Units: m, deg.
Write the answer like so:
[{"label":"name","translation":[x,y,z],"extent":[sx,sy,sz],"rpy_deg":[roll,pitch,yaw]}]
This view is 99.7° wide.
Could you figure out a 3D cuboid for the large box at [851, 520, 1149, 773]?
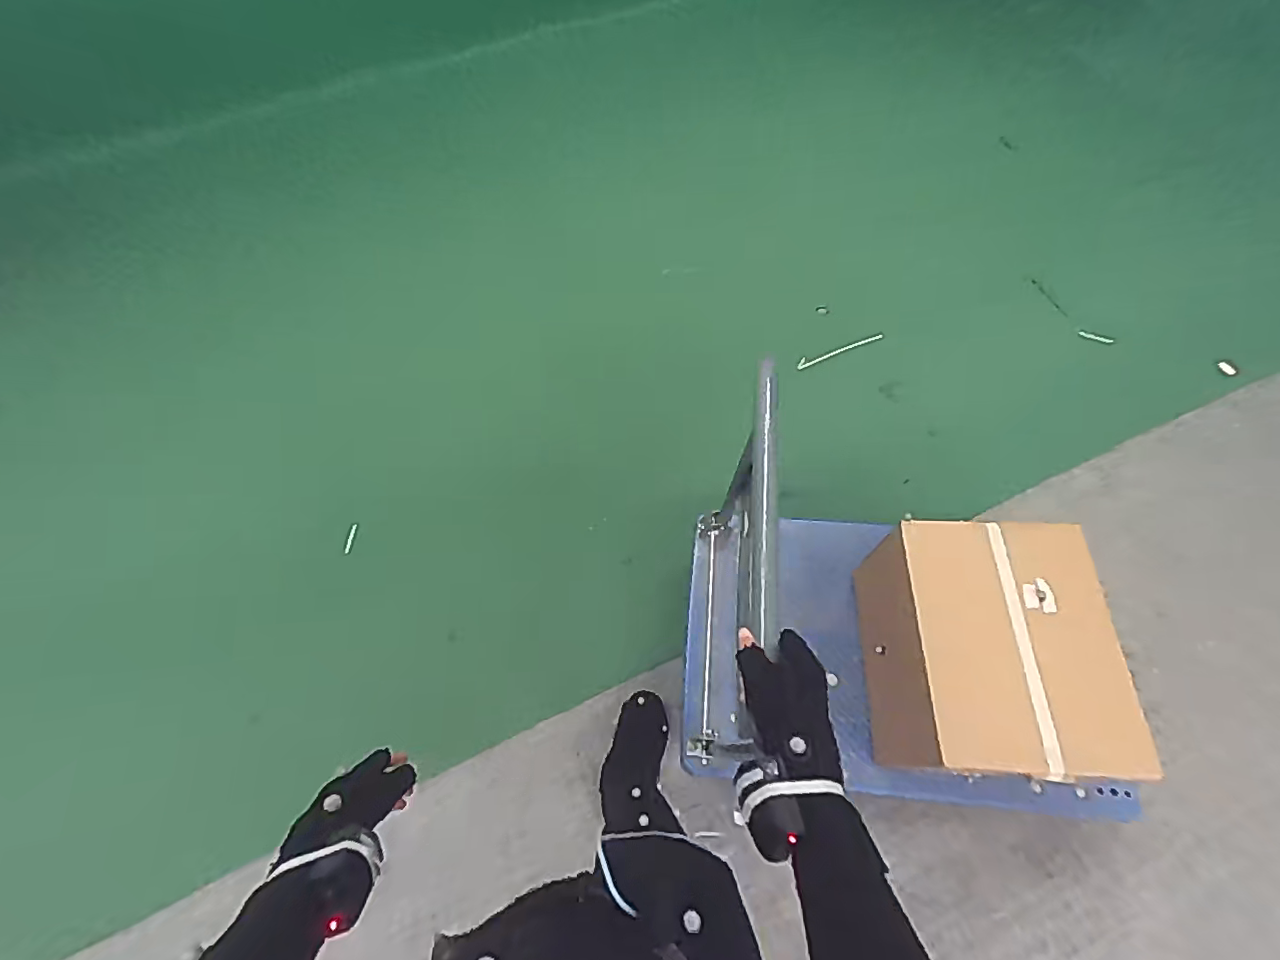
[{"label":"large box","translation":[0.620,0.324,1.030],"extent":[0.320,0.320,0.408],"rpy_deg":[2,61,4]}]
